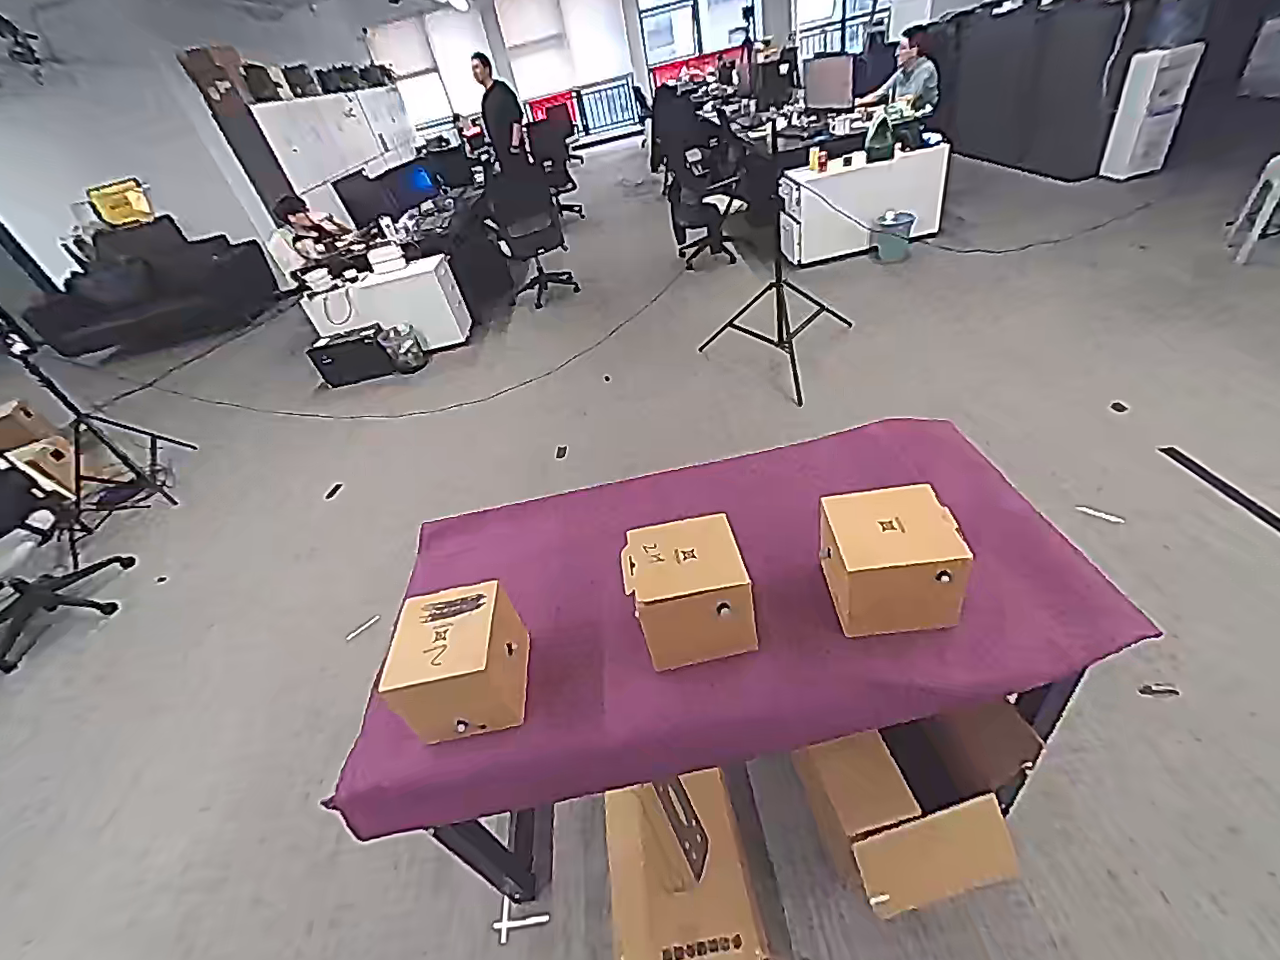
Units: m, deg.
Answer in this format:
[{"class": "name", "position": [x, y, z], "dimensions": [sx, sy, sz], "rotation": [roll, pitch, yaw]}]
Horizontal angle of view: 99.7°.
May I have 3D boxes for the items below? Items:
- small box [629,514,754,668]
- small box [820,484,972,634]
[{"class": "small box", "position": [0.087, 0.187, 0.905], "dimensions": [0.179, 0.176, 0.168], "rotation": [-13, 35, 2]}, {"class": "small box", "position": [0.399, 0.131, 0.875], "dimensions": [0.179, 0.176, 0.168], "rotation": [-8, 38, 8]}]
